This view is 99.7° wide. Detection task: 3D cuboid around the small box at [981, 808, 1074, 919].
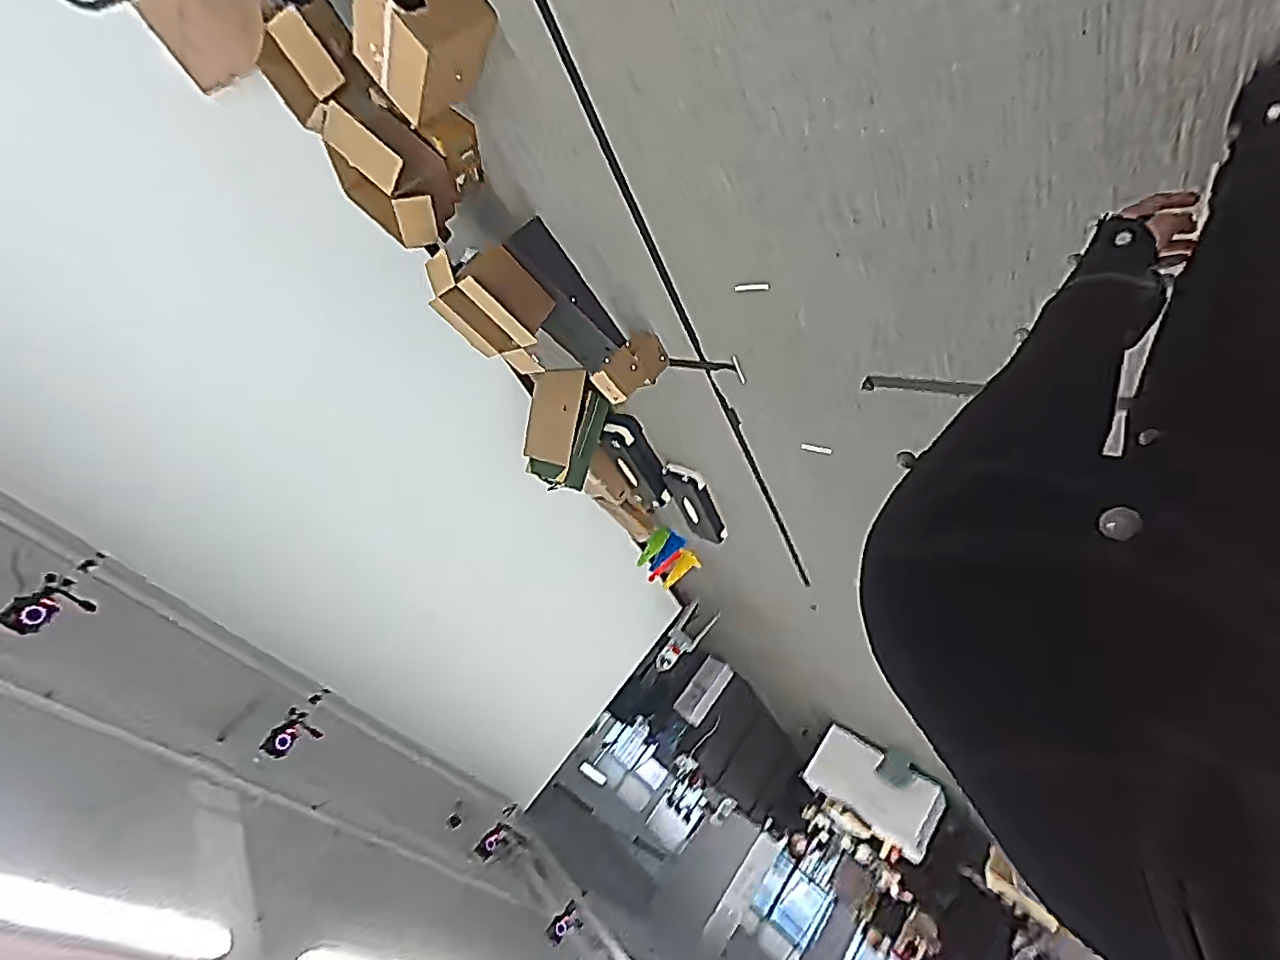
[{"bbox_3d":[1.065,1.049,1.487,0.168,0.176,0.179,19,149,46],"label":"small box"}]
